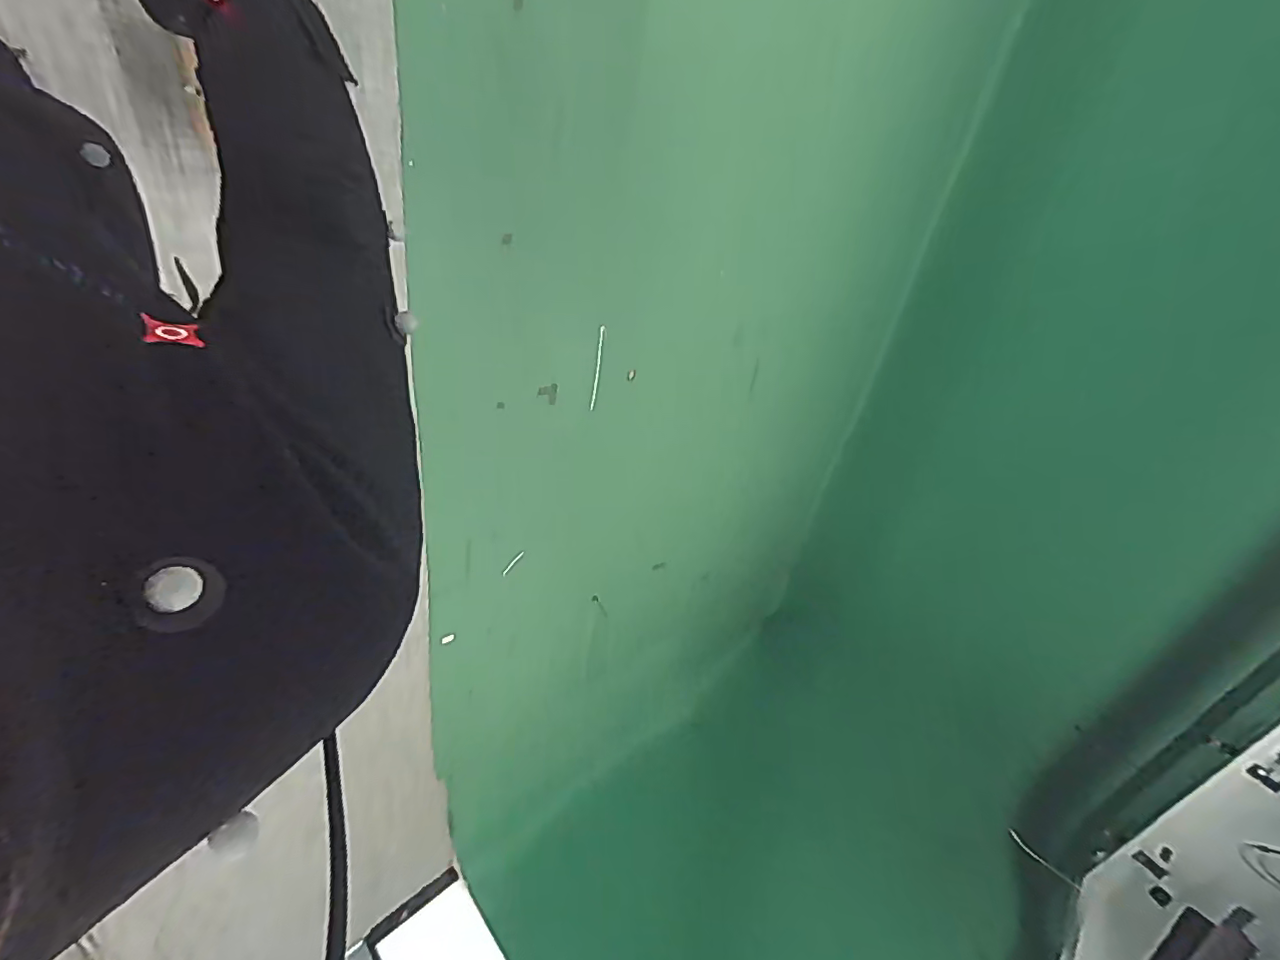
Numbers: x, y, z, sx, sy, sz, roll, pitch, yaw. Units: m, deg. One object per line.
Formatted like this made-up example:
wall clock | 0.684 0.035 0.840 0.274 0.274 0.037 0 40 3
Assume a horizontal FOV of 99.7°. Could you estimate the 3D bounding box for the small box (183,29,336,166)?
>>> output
small box | -0.663 -0.658 0.942 0.179 0.176 0.168 -21 132 -40
